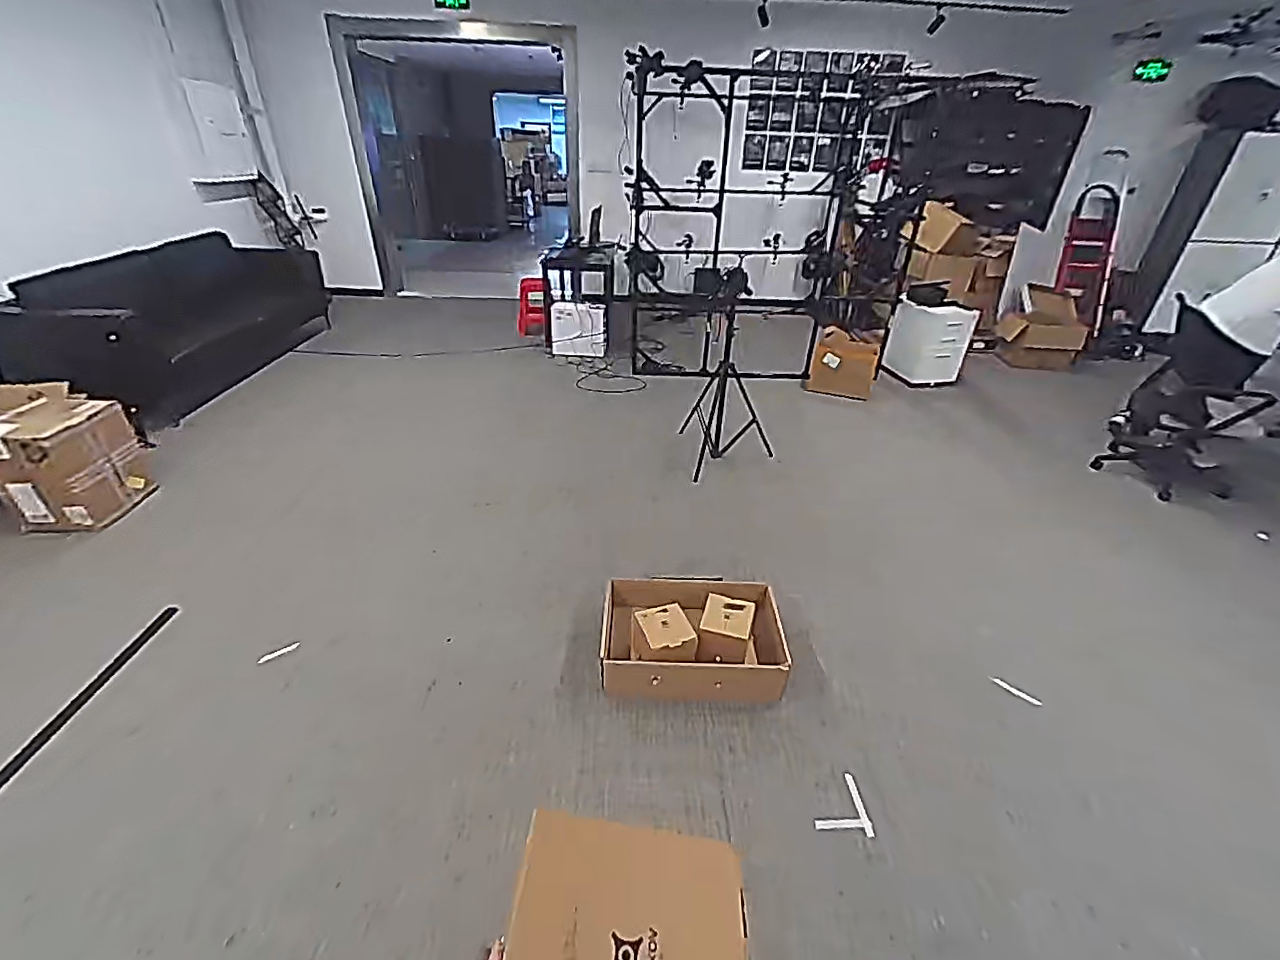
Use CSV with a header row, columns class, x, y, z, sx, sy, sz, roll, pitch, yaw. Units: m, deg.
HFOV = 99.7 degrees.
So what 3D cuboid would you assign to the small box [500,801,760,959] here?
class,x,y,z,sx,sy,sz,roll,pitch,yaw
small box,-0.019,0.383,0.415,0.179,0.176,0.168,13,34,-5
